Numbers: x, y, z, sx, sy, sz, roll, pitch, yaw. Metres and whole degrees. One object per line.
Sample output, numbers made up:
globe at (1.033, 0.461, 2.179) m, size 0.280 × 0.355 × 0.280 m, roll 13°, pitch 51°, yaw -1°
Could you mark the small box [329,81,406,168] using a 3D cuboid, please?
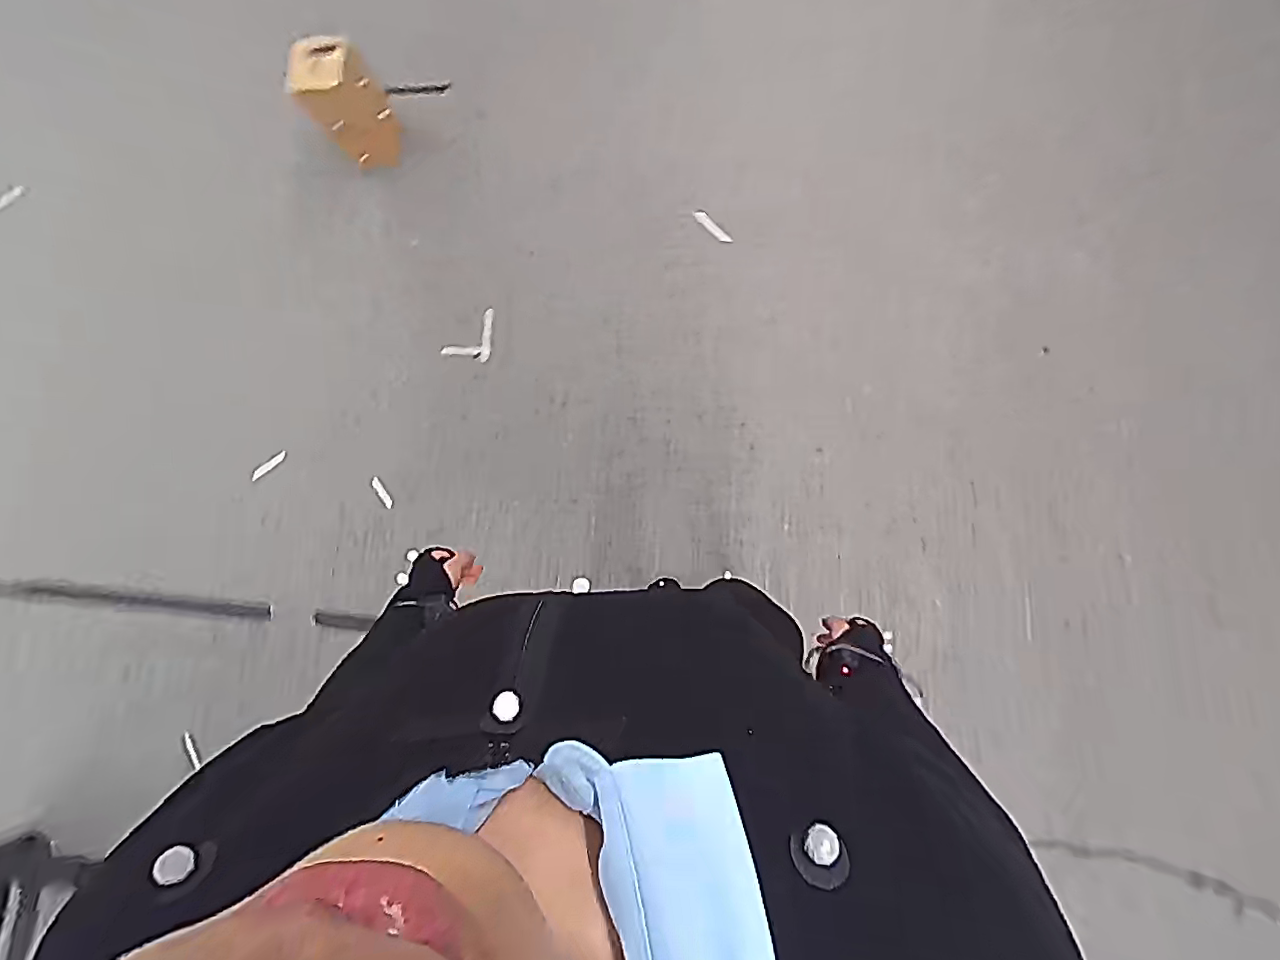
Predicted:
small box at (-0.905, -1.188, 1.814) m, size 0.168 × 0.176 × 0.179 m, roll -2°, pitch 79°, yaw 5°
